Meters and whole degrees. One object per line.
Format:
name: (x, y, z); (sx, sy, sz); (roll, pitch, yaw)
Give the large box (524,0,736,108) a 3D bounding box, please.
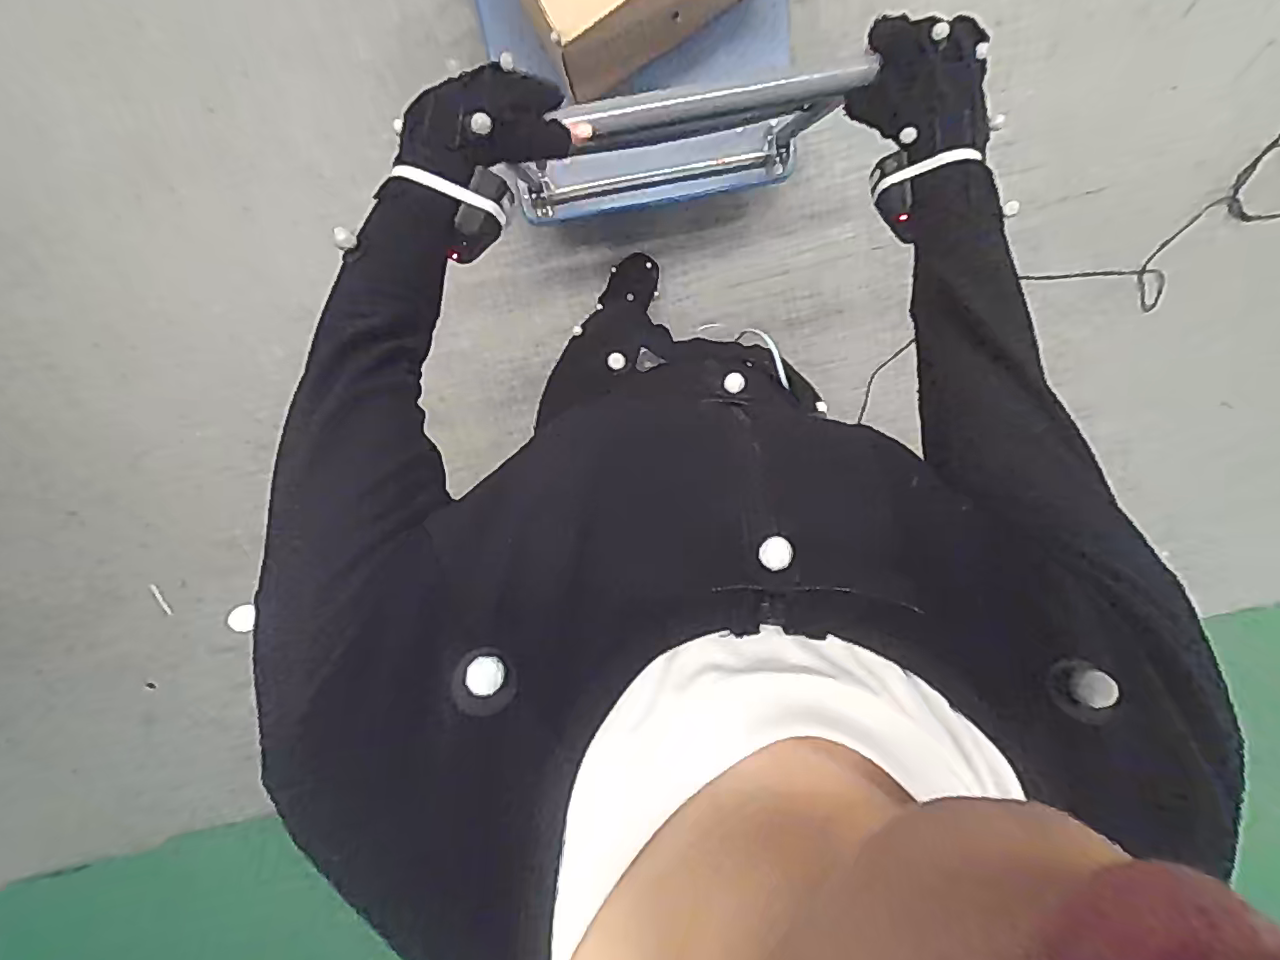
large box: (-0.016, -0.895, 0.853); (0.408, 0.320, 0.320); (-29, 107, 10)
